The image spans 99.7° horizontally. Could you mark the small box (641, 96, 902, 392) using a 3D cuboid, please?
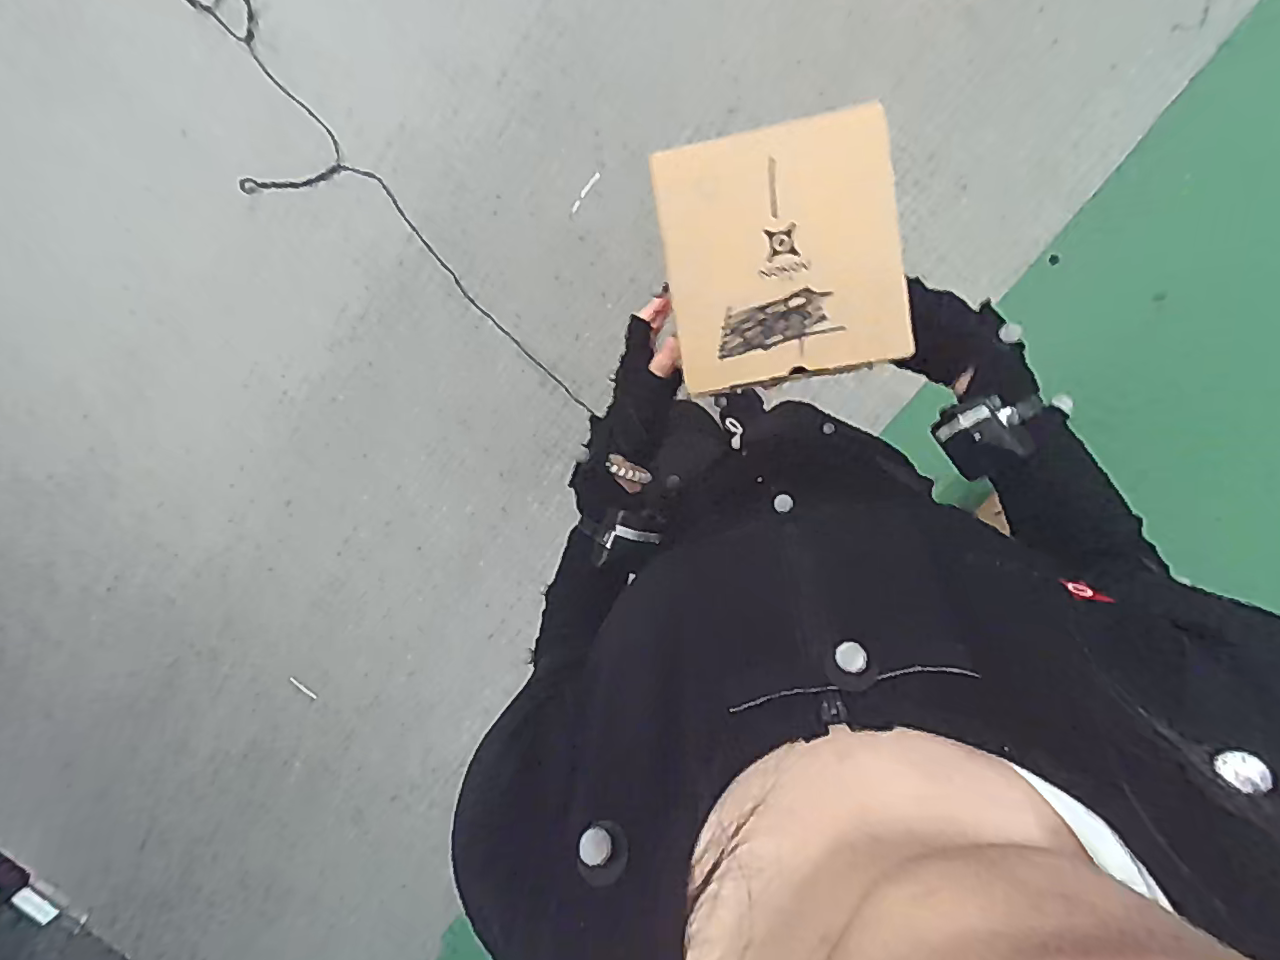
[{"bbox_3d":[0.102,-0.176,0.465,0.168,0.176,0.179,-10,97,6],"label":"small box"}]
